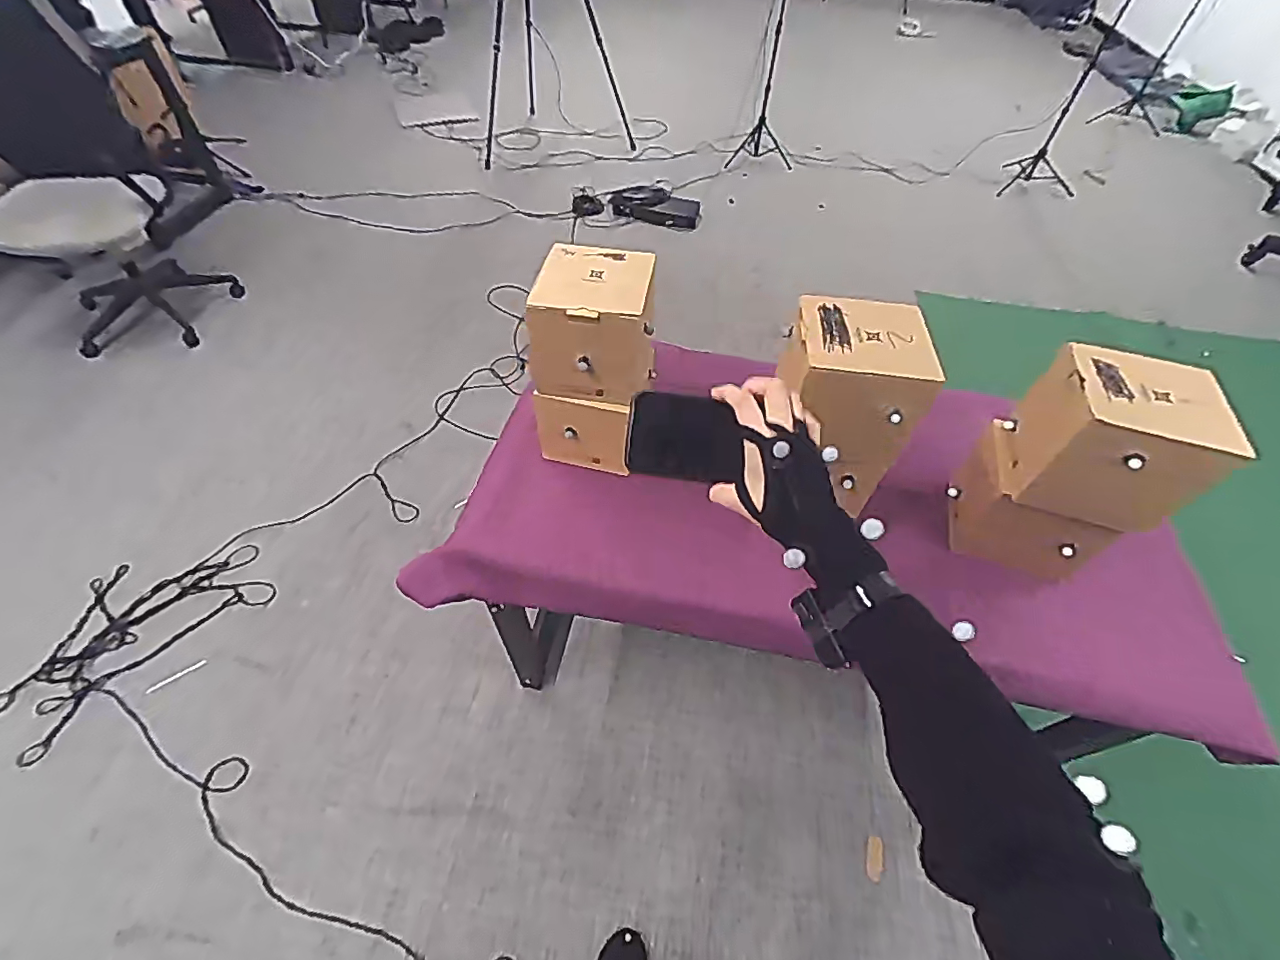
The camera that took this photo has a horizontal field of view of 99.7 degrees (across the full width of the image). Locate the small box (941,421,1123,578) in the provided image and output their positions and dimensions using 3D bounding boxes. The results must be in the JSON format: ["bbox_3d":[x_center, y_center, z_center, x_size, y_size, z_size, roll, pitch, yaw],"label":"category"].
[{"bbox_3d":[0.621,0.037,0.877,0.179,0.176,0.168,17,53,11],"label":"small box"}]

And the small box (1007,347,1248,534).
[{"bbox_3d":[0.633,-0.050,0.739,0.179,0.176,0.168,17,53,10],"label":"small box"}]

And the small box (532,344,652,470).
[{"bbox_3d":[-0.079,-0.143,0.983,0.168,0.176,0.179,13,52,7],"label":"small box"}]

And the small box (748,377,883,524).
[{"bbox_3d":[0.295,-0.046,0.924,0.179,0.176,0.168,12,52,7],"label":"small box"}]

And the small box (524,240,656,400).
[{"bbox_3d":[-0.071,-0.251,0.859,0.168,0.176,0.179,9,53,3],"label":"small box"}]
